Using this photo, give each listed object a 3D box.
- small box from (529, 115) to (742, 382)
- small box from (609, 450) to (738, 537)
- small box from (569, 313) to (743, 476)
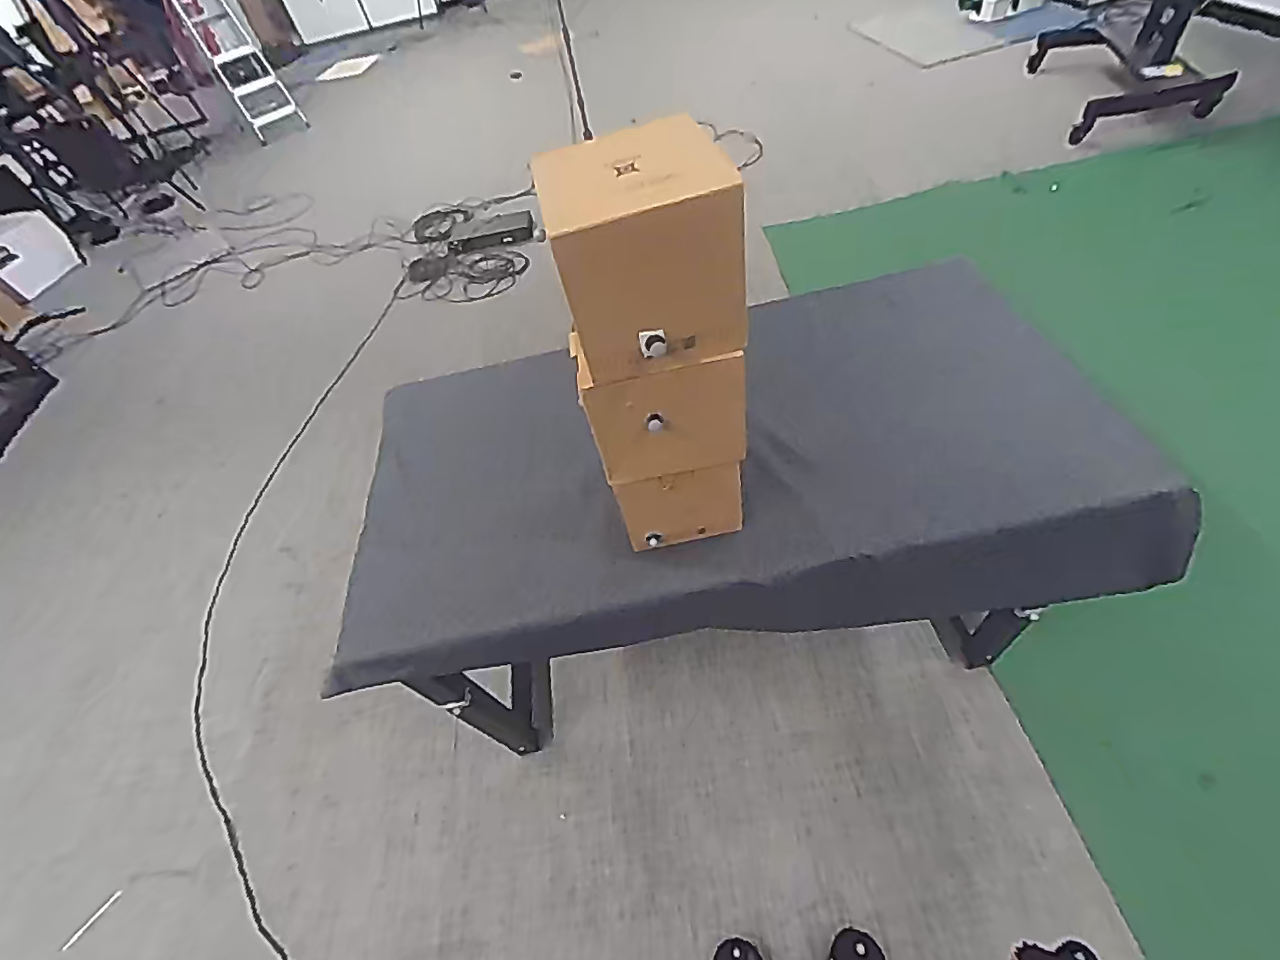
[{"bbox_3d":[-0.002,-0.231,0.551,0.168,0.176,0.179,-17,52,0],"label":"small box"},{"bbox_3d":[0.046,-0.032,0.804,0.168,0.176,0.179,-13,50,3],"label":"small box"},{"bbox_3d":[0.023,-0.126,0.676,0.179,0.176,0.168,-14,49,1],"label":"small box"}]
